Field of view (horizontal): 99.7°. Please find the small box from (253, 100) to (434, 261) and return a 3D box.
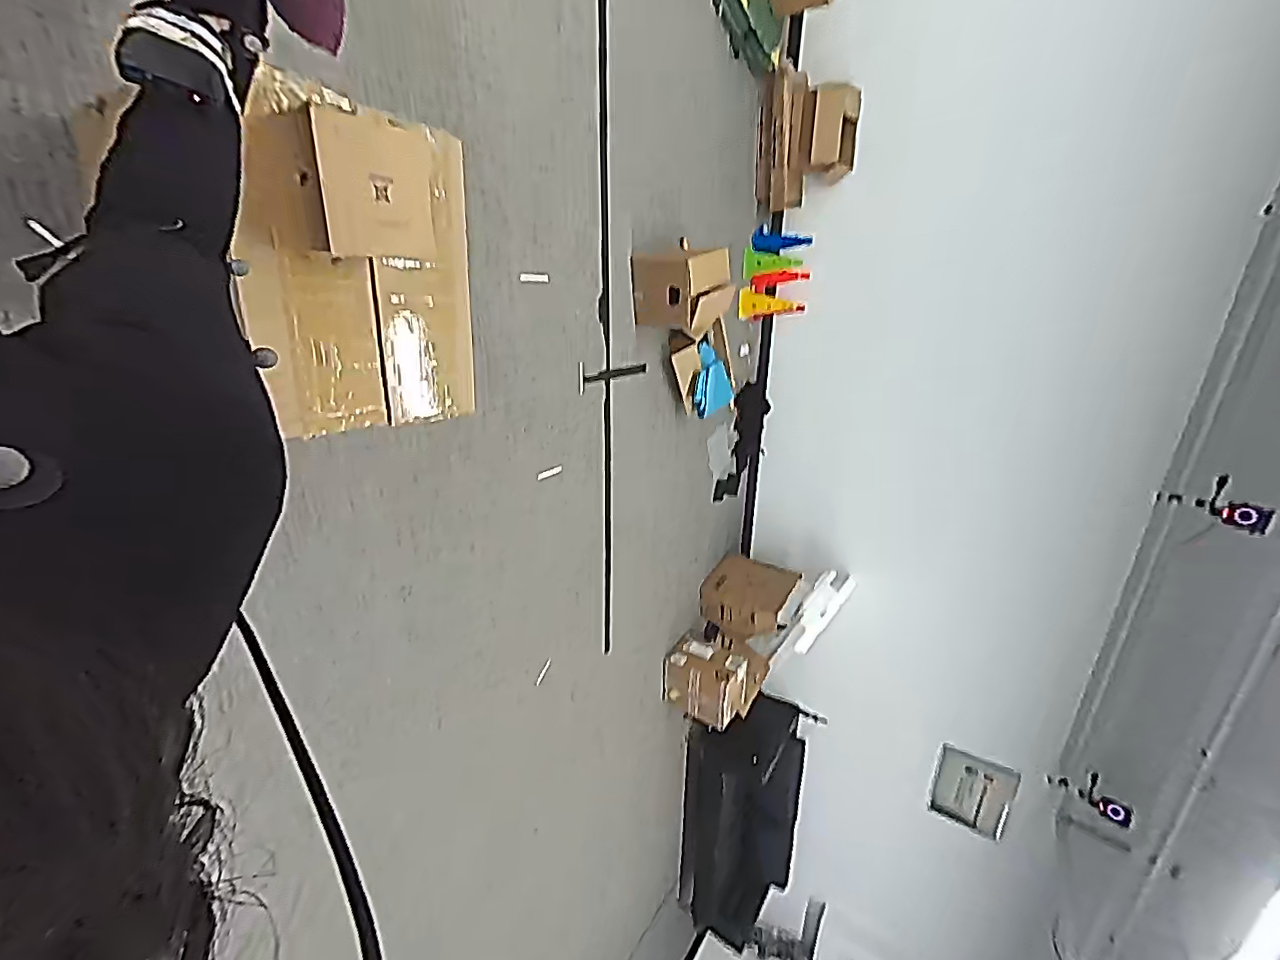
[{"bbox_3d":[-0.428,-0.419,0.787,0.168,0.176,0.179,-24,123,-50],"label":"small box"}]
